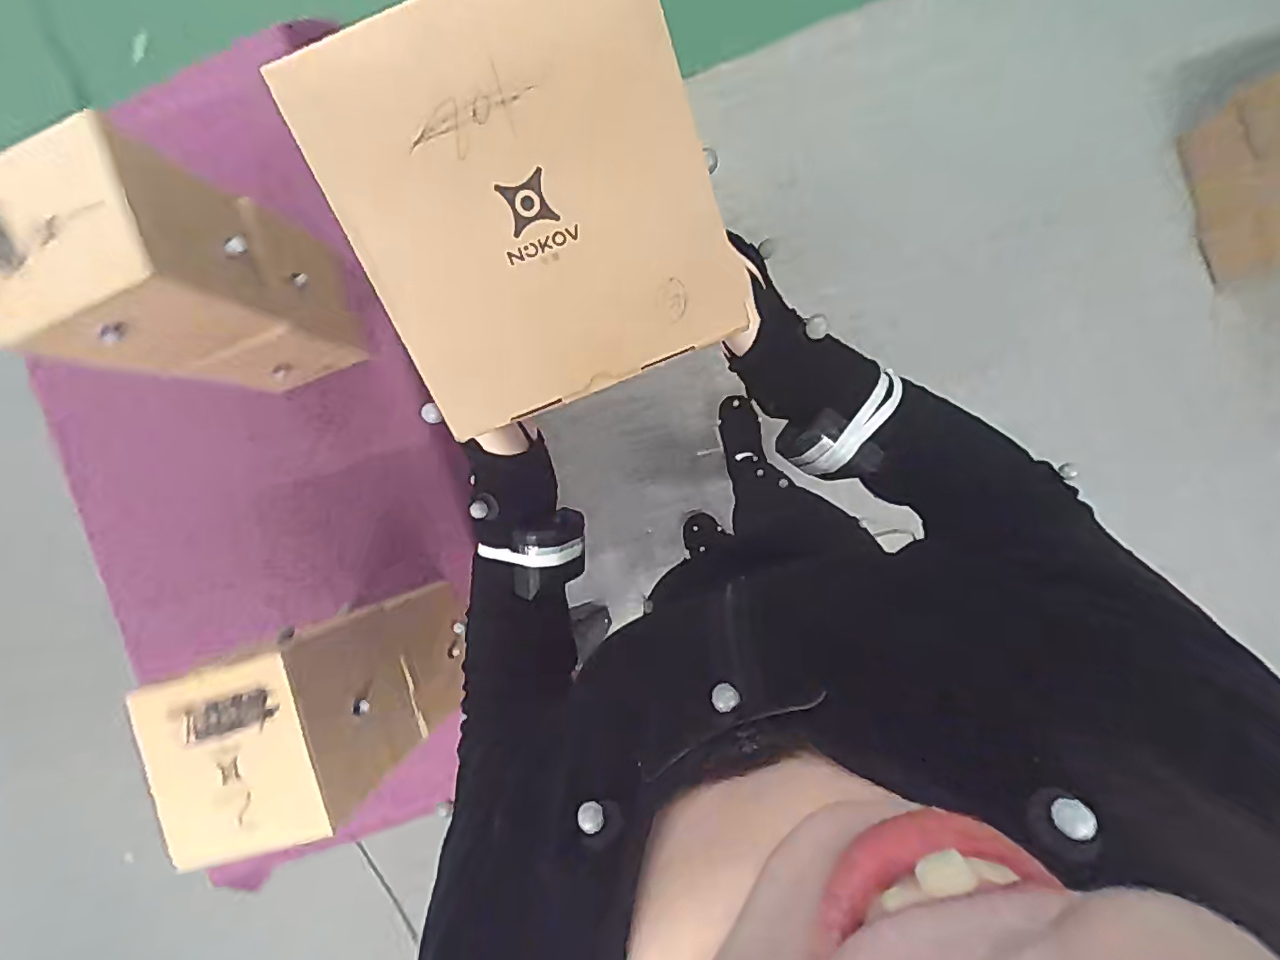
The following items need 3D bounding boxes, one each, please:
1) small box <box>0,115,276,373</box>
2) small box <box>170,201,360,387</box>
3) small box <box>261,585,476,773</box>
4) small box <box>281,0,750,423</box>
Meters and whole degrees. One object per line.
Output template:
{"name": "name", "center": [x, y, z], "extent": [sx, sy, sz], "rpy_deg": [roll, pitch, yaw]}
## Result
{"name": "small box", "center": [-0.549, -0.230, 0.581], "extent": [0.179, 0.176, 0.168], "rpy_deg": [-22, 89, 5]}
{"name": "small box", "center": [-0.524, -0.236, 0.744], "extent": [0.168, 0.176, 0.179], "rpy_deg": [-19, 89, 6]}
{"name": "small box", "center": [-0.355, 0.257, 0.736], "extent": [0.179, 0.176, 0.168], "rpy_deg": [-19, 89, 5]}
{"name": "small box", "center": [-0.050, -0.158, 0.322], "extent": [0.168, 0.176, 0.179], "rpy_deg": [-19, 110, 4]}
